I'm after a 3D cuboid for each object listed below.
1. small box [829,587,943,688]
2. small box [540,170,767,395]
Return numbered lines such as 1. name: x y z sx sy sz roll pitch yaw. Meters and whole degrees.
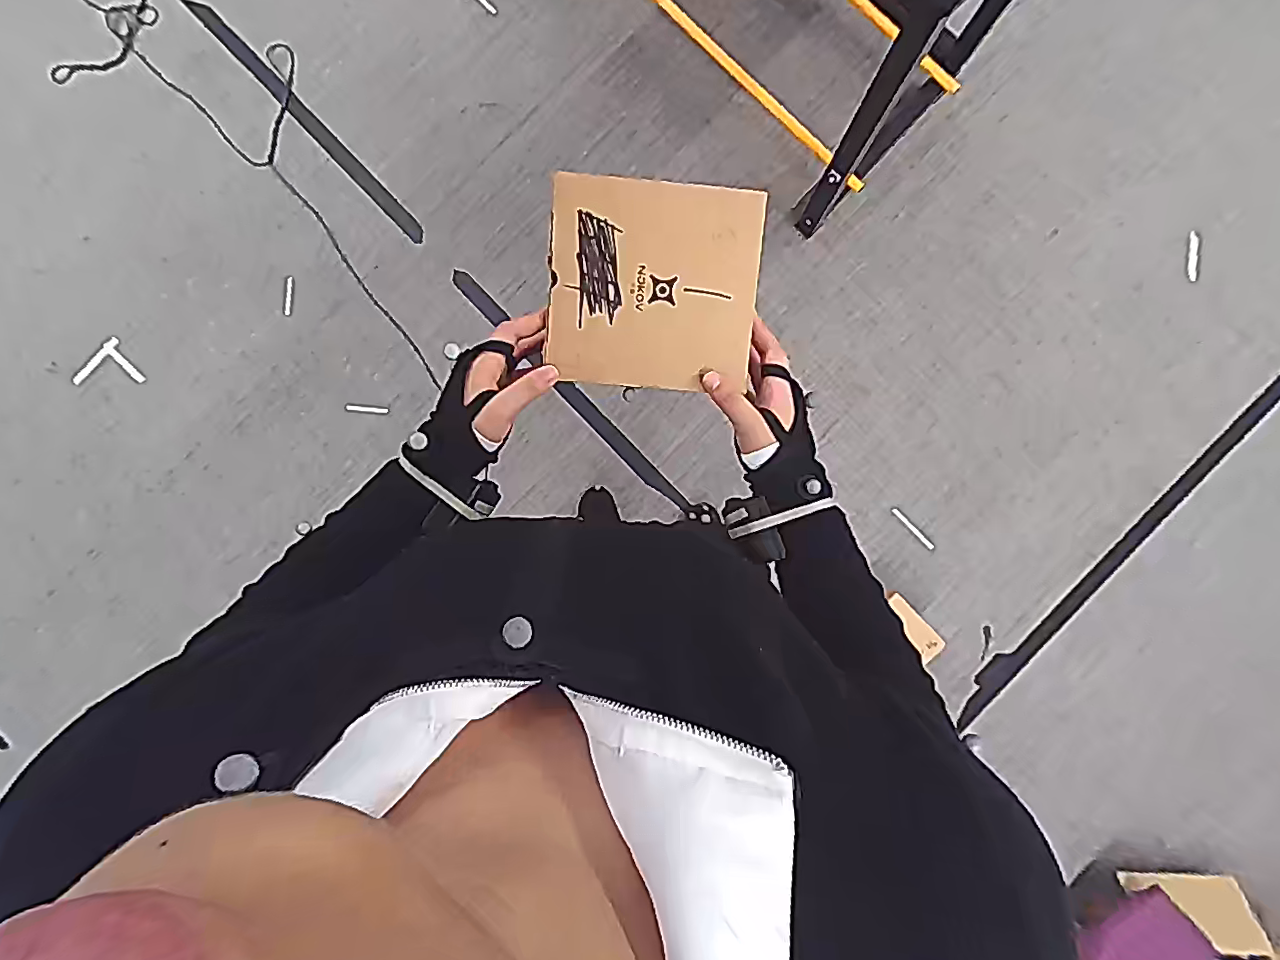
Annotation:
1. small box: 0.622 0.394 1.394 0.168 0.176 0.179 -43 87 -1
2. small box: 0.007 -0.172 0.520 0.179 0.176 0.168 4 101 -3
